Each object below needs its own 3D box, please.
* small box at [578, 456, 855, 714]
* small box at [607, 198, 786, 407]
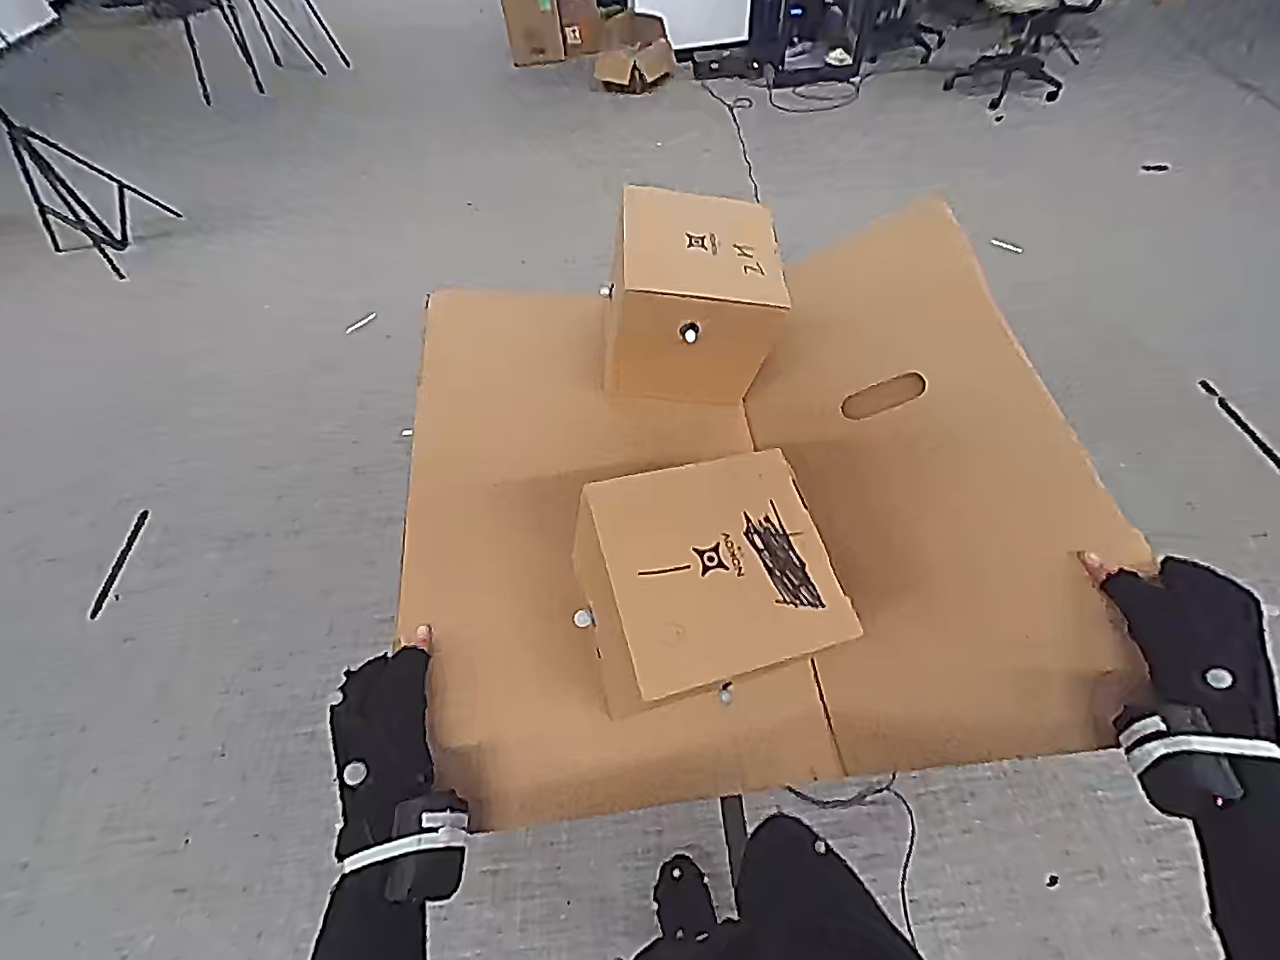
[{"bbox_3d":[0.049,0.100,0.489,0.179,0.176,0.168,-11,64,-15],"label":"small box"},{"bbox_3d":[0.055,-0.205,0.657,0.179,0.176,0.168,4,61,-9],"label":"small box"}]
